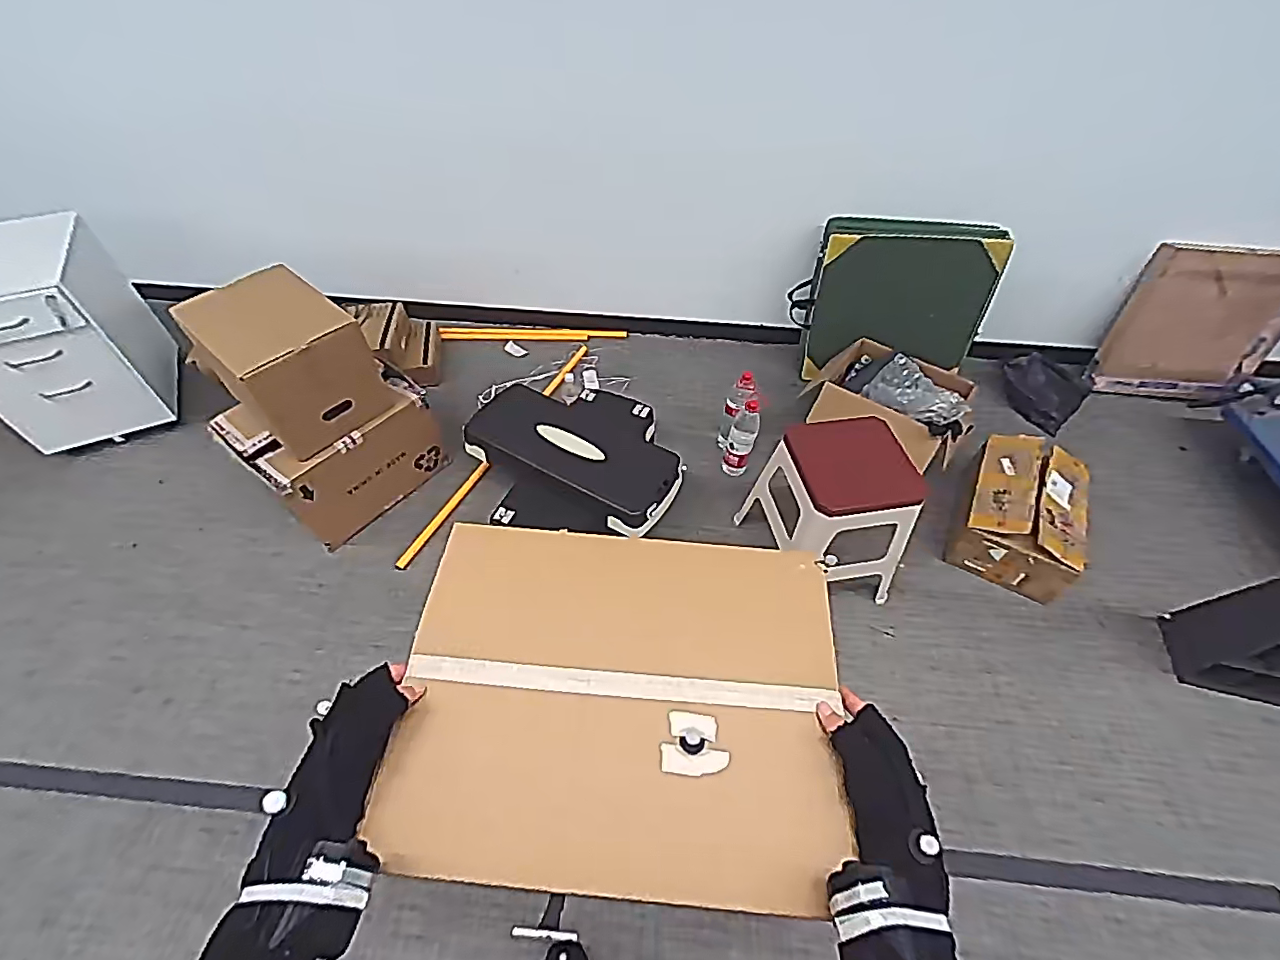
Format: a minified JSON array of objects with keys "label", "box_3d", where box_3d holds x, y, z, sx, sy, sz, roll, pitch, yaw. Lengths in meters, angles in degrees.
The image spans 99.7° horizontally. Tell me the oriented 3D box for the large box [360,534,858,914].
[{"label":"large box","box_3d":[-0.021,0.285,0.630,0.408,0.320,0.320,5,55,1]}]
